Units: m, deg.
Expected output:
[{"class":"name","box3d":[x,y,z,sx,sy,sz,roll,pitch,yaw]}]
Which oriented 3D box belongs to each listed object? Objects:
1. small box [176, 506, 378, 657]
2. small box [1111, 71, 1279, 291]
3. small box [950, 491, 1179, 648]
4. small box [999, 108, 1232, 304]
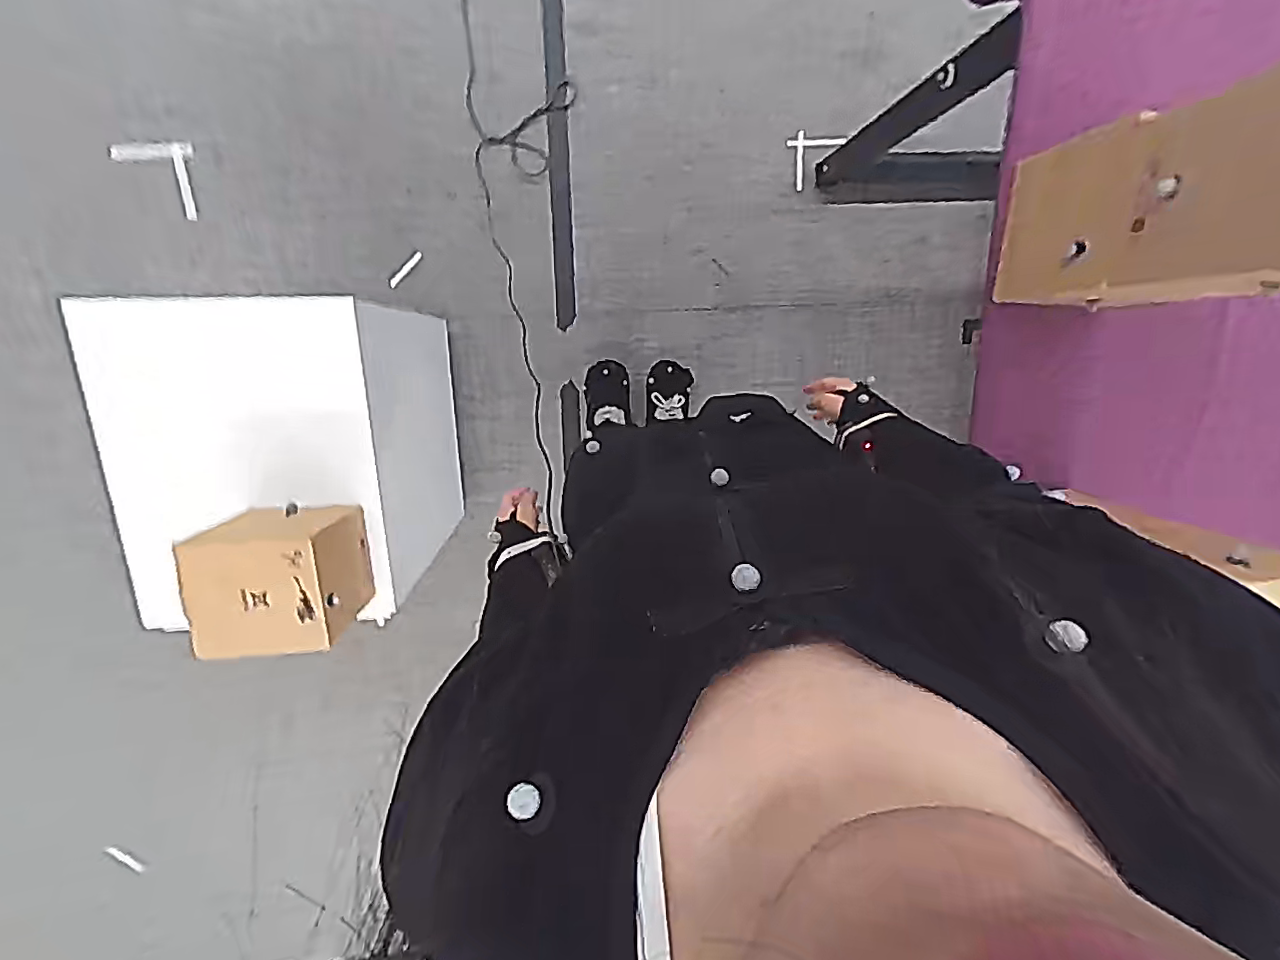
[{"class":"small box","box3d":[-0.516,0.140,0.795,0.179,0.176,0.168,-3,103,-4]},{"class":"small box","box3d":[0.601,-0.269,0.495,0.179,0.176,0.168,0,104,-5]},{"class":"small box","box3d":[0.576,0.114,0.756,0.179,0.176,0.168,-3,102,-4]},{"class":"small box","box3d":[0.576,-0.311,0.653,0.168,0.176,0.179,1,103,-6]}]
